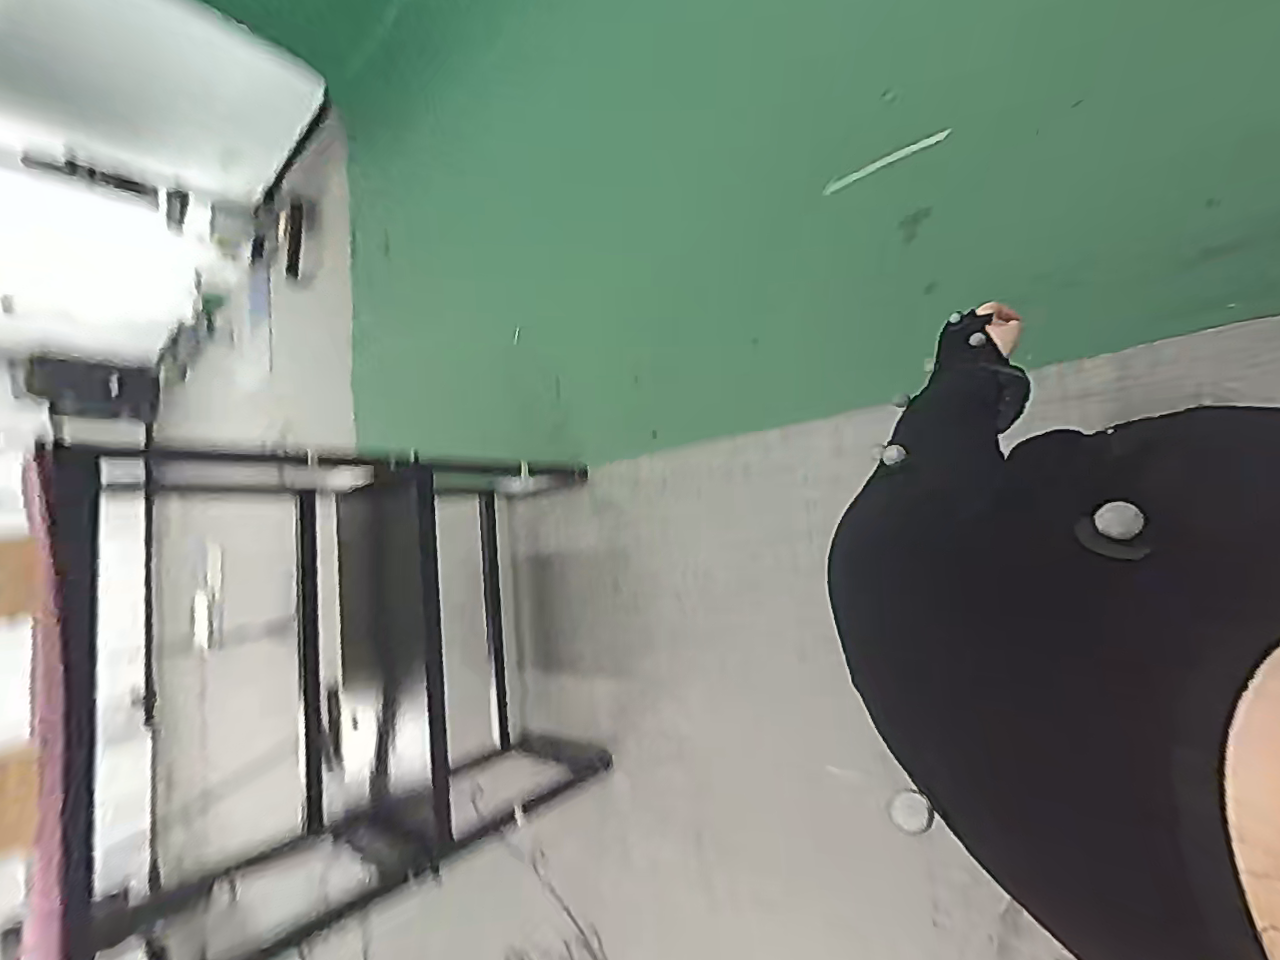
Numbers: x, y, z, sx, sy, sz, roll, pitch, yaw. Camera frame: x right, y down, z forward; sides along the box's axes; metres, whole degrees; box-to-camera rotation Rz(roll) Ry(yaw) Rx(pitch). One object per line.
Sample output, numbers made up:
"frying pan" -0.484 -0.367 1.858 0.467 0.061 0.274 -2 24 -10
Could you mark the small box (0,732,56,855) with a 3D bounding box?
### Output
"small box" -1.241 0.609 1.028 0.168 0.176 0.179 -8 83 41
